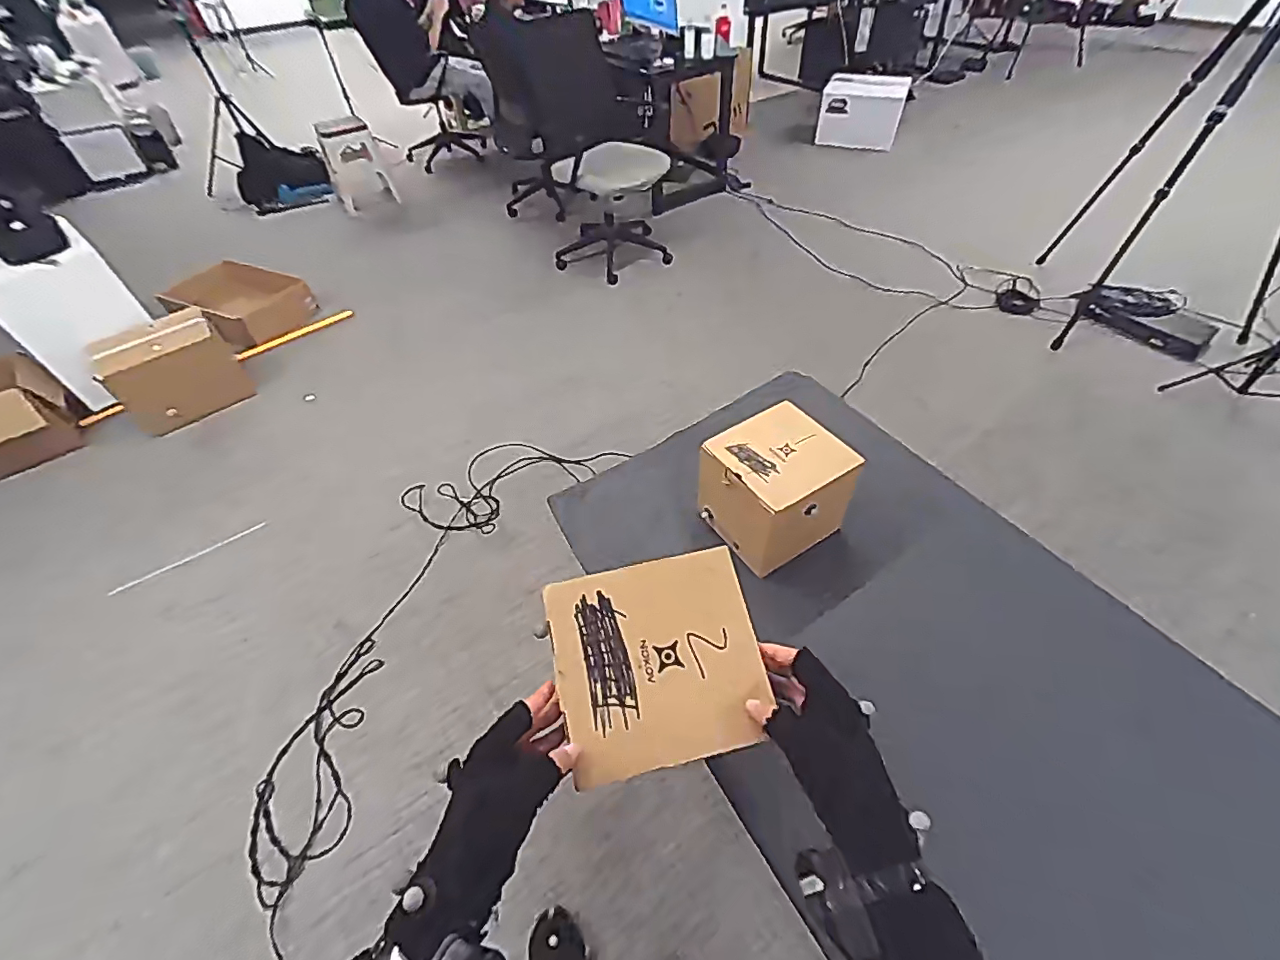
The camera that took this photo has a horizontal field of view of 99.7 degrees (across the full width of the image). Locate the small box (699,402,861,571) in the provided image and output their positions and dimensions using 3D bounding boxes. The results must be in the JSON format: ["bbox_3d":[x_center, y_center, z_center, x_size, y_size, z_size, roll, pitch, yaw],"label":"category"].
[{"bbox_3d":[0.209,0.013,0.854,0.179,0.176,0.168,-27,53,-20],"label":"small box"}]
